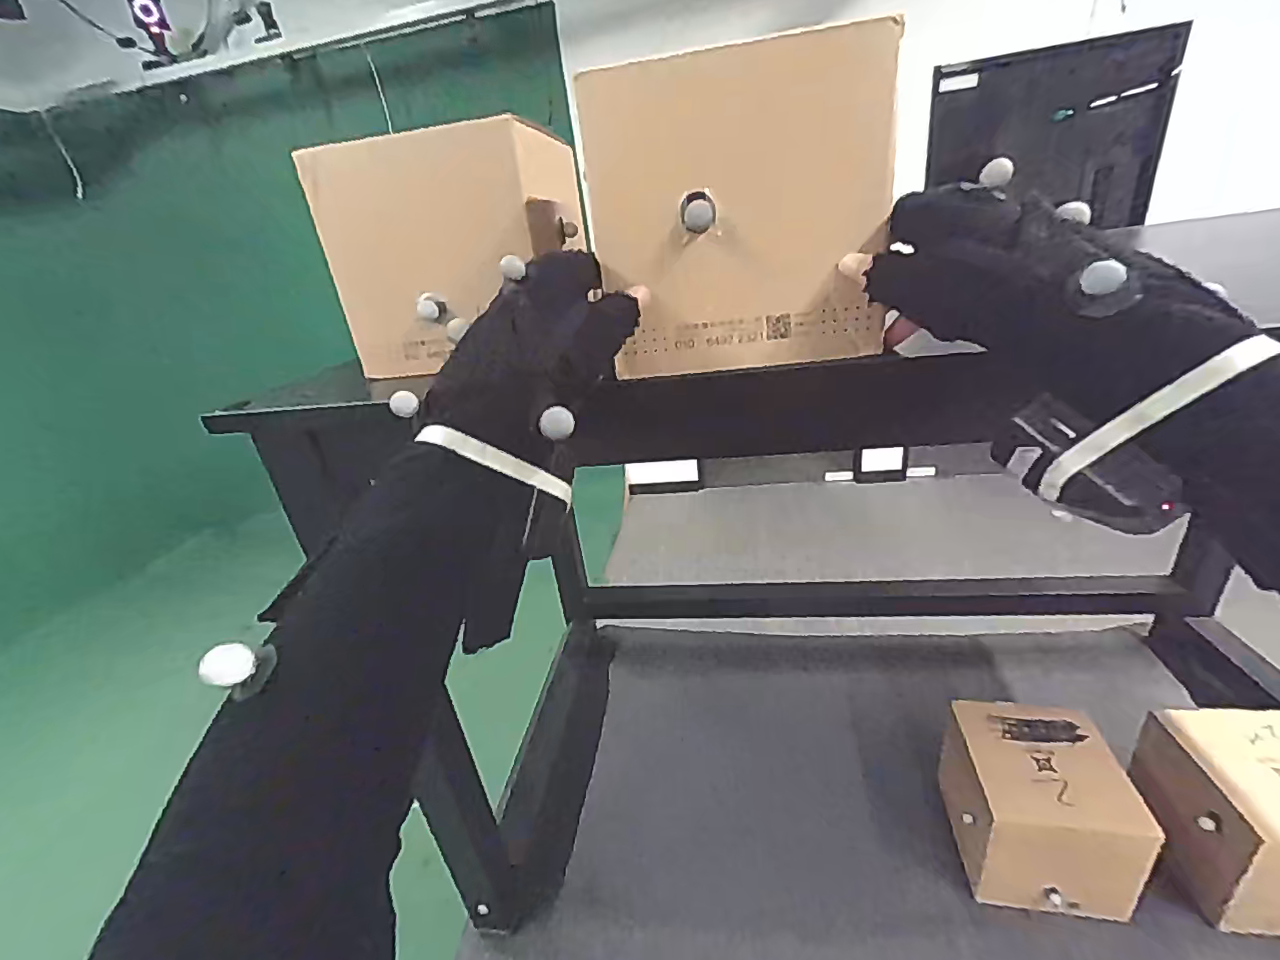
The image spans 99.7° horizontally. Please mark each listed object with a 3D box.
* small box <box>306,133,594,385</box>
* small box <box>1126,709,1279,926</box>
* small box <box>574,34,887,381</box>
[{"bbox_3d":[-0.144,-0.191,0.484,0.168,0.176,0.179,-4,26,9],"label":"small box"},{"bbox_3d":[0.752,0.409,0.657,0.168,0.176,0.179,-3,24,10],"label":"small box"},{"bbox_3d":[0.064,-0.172,0.384,0.168,0.176,0.179,-4,24,8],"label":"small box"}]
